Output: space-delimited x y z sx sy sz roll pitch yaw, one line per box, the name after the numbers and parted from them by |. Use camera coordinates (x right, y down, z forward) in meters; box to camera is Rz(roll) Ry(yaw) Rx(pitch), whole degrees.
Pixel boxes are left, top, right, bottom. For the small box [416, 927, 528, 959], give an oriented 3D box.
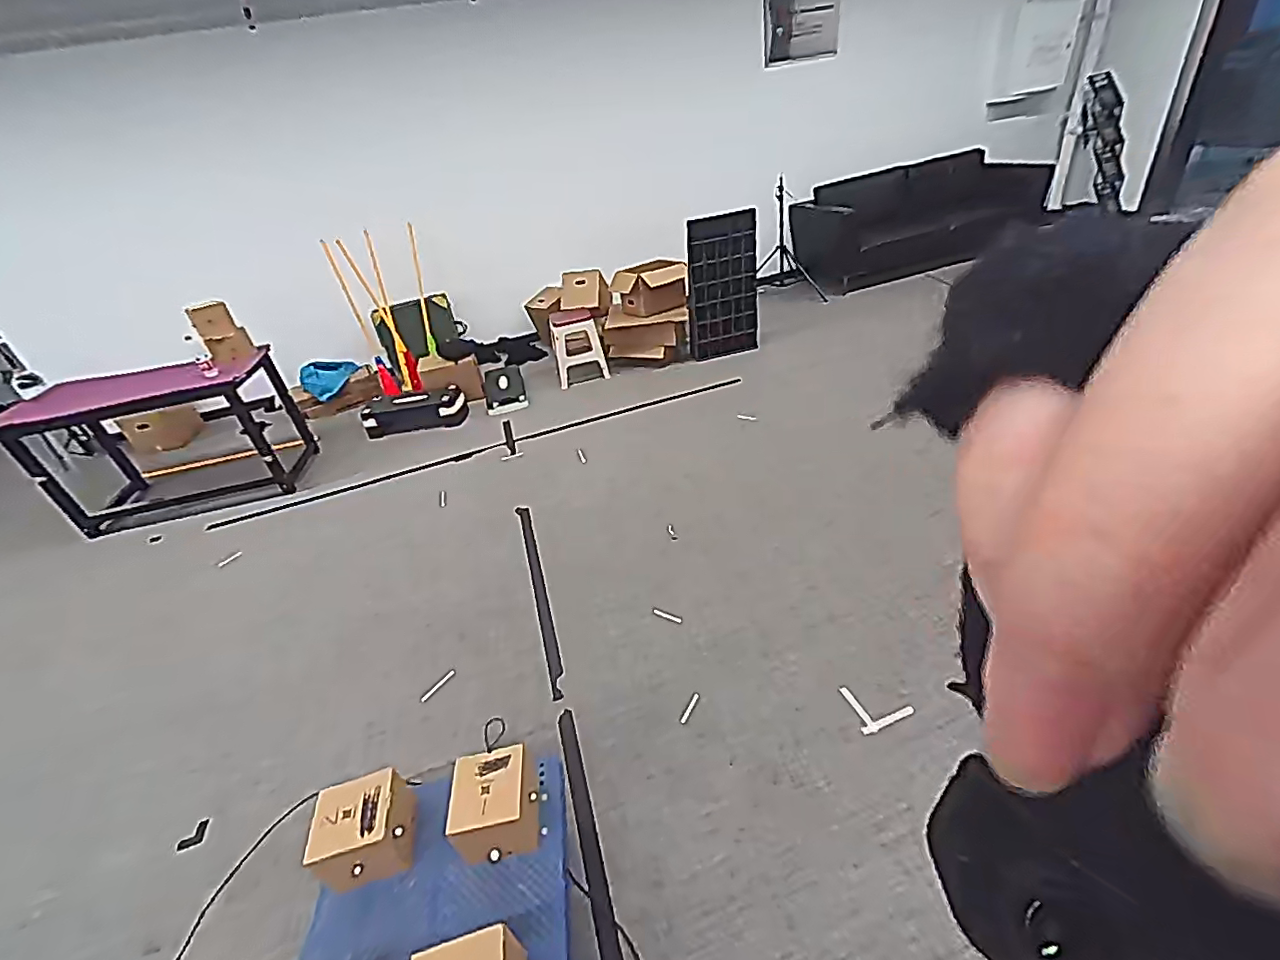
-0.302 0.966 0.980 0.179 0.176 0.168 -15 34 -7 | small box

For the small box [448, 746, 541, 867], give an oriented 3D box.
-0.335 0.773 1.281 0.168 0.176 0.179 -12 34 -2 | small box
